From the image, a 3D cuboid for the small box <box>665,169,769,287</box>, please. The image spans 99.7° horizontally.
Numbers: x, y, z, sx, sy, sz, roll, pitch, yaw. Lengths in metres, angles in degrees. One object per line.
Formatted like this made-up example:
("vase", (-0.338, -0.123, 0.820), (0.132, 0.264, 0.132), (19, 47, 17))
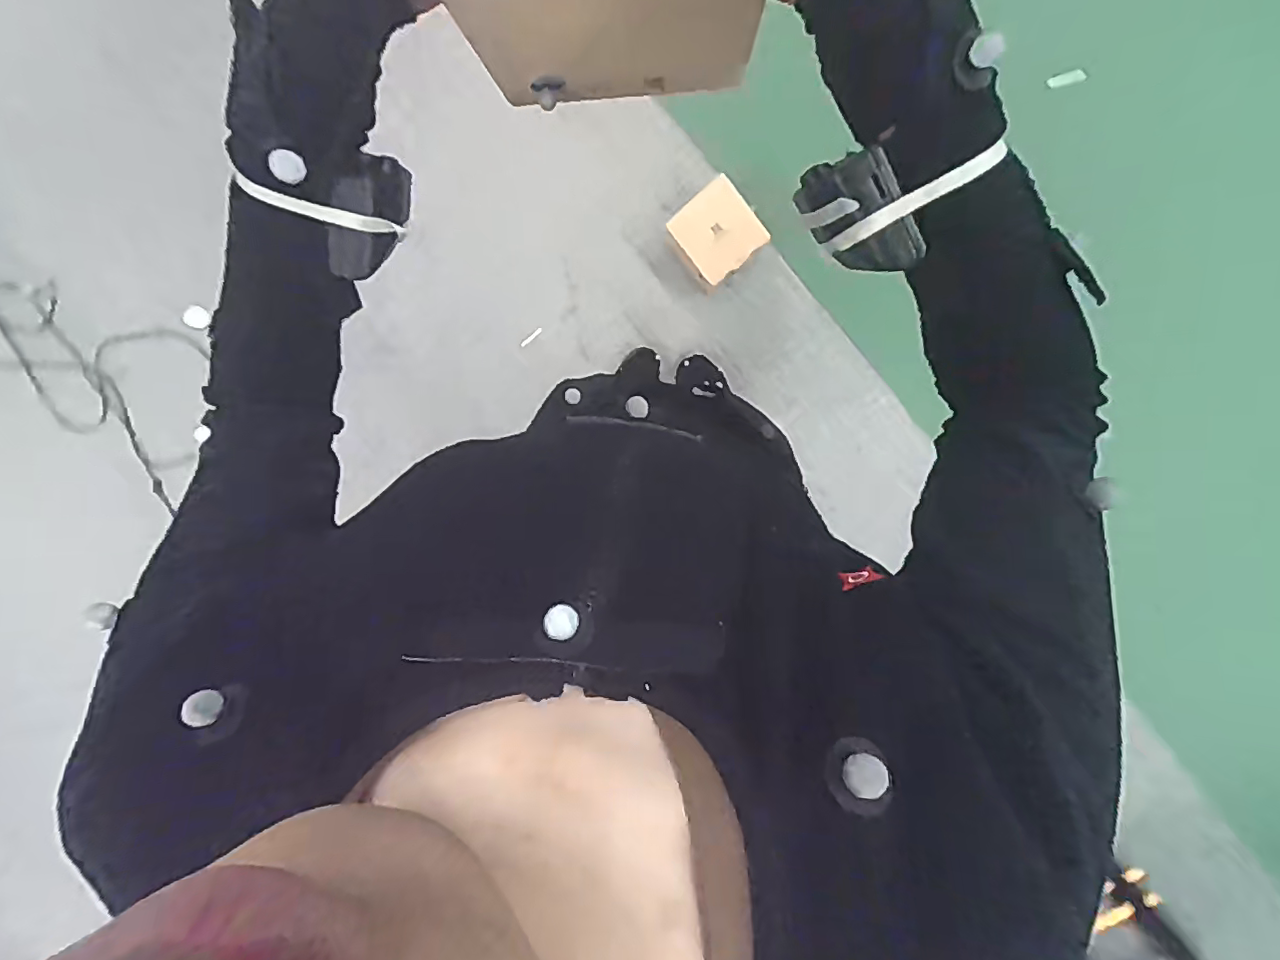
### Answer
("small box", (0.175, -0.577, 1.270), (0.168, 0.176, 0.179), (-39, 98, 12))
